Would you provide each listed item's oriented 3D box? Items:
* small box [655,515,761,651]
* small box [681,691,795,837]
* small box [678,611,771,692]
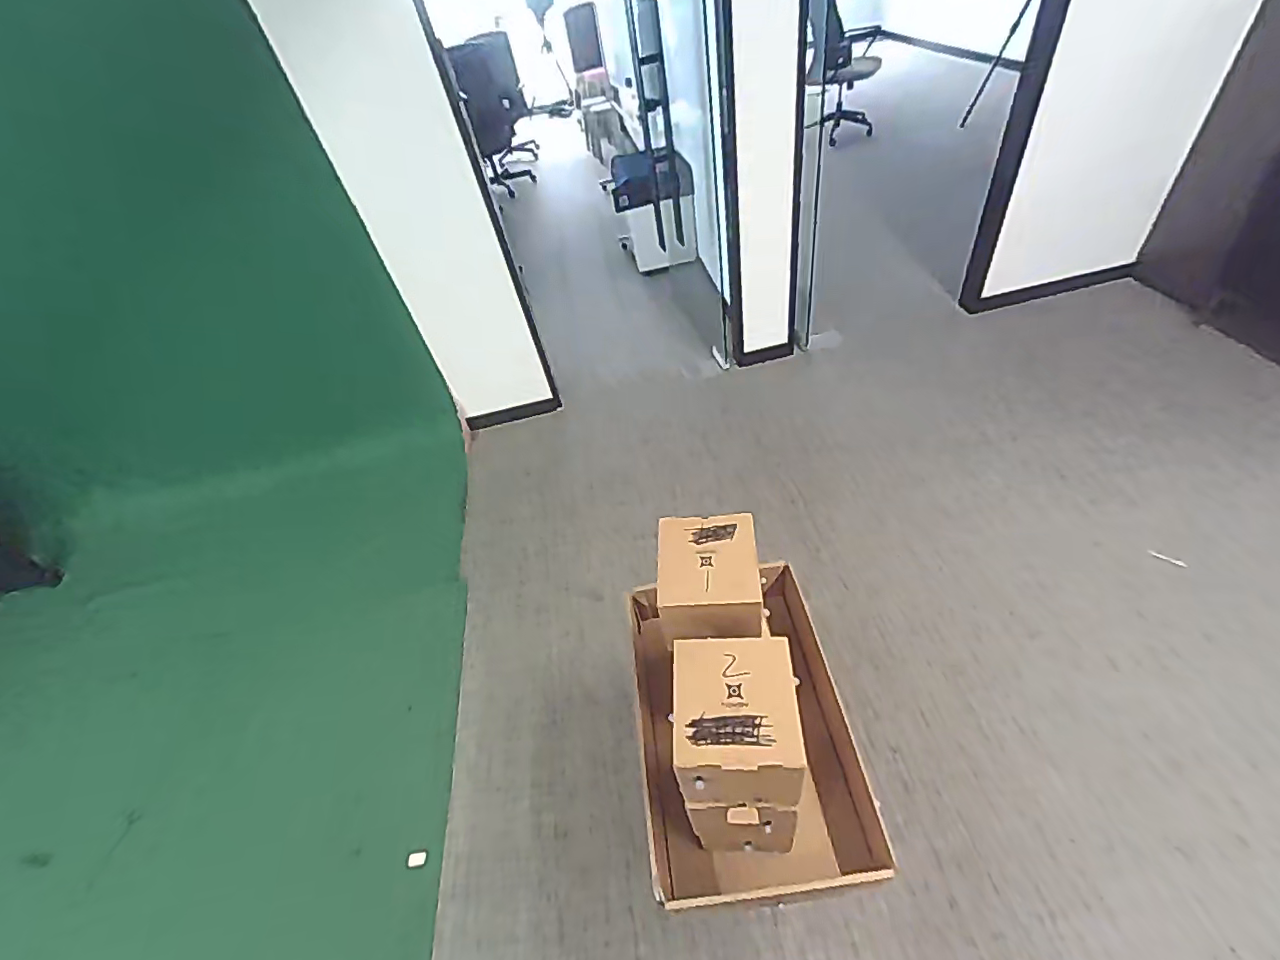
[{"bbox_3d":[0.120,0.182,0.949,0.168,0.176,0.179,-4,48,9],"label":"small box"},{"bbox_3d":[0.159,0.467,0.888,0.168,0.176,0.179,-4,44,9],"label":"small box"},{"bbox_3d":[0.151,0.296,1.064,0.168,0.176,0.179,-11,47,2],"label":"small box"}]
